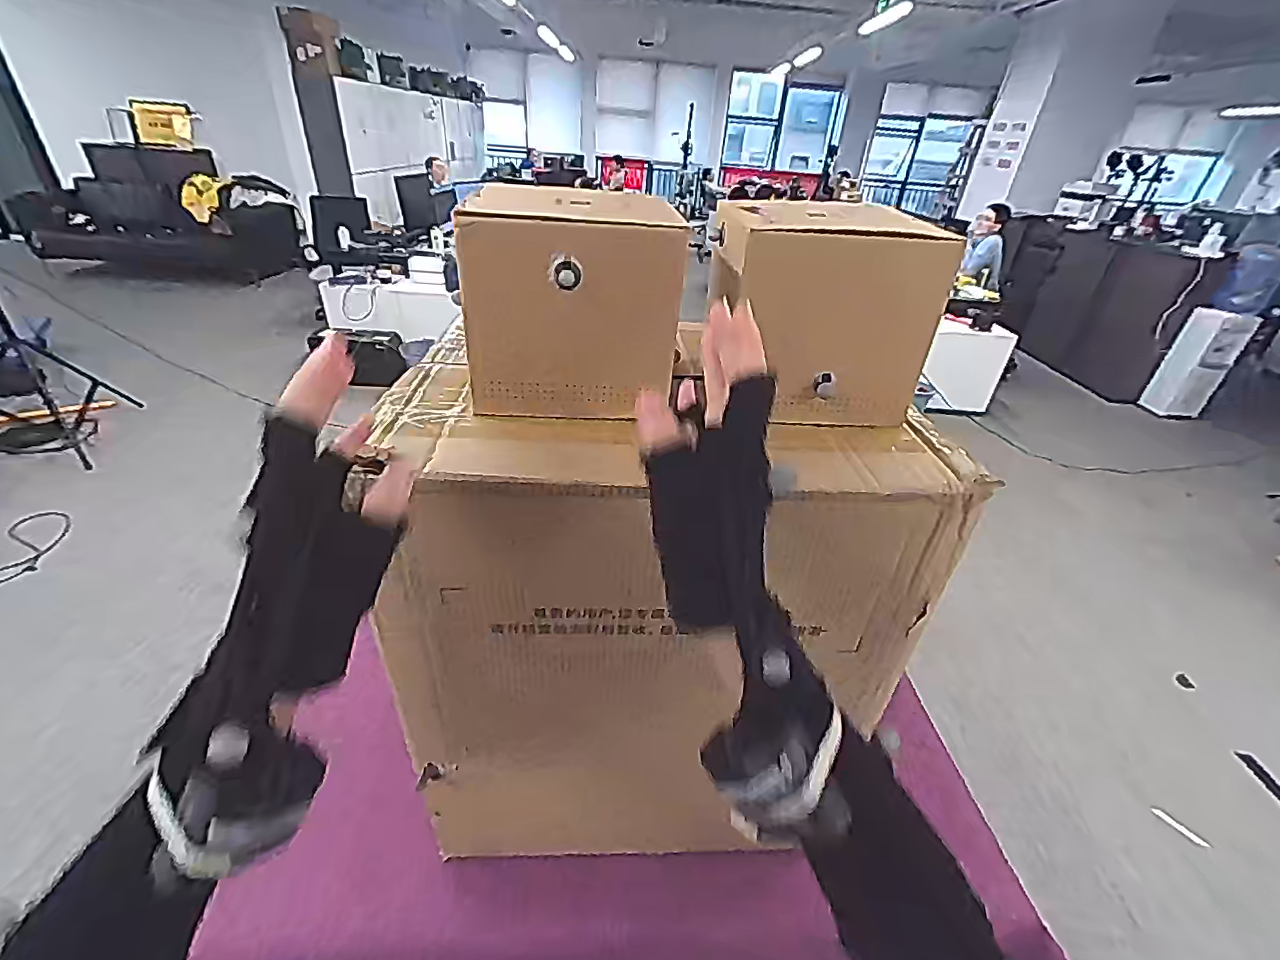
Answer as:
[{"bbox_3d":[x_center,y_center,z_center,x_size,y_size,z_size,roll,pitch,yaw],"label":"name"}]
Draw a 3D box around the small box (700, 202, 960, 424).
[{"bbox_3d":[0.163,-0.165,0.532,0.179,0.176,0.168,2,33,-3],"label":"small box"}]
